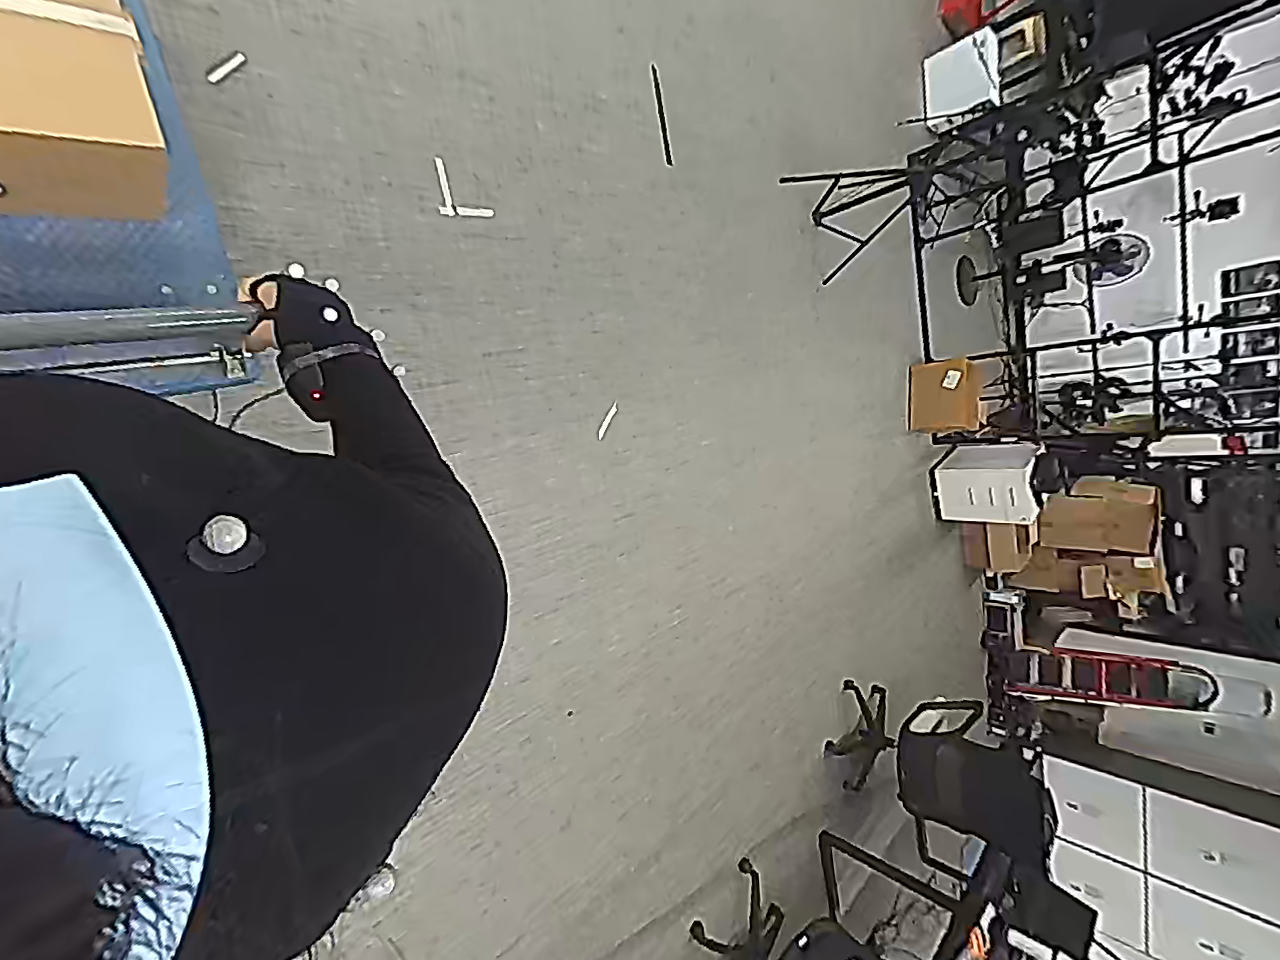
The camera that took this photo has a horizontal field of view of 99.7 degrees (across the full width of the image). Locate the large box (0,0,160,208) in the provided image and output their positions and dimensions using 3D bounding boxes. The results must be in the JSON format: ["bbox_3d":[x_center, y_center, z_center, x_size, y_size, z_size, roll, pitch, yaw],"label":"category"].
[{"bbox_3d":[-0.986,-0.603,0.761,0.408,0.320,0.320,-20,103,-39],"label":"large box"}]
